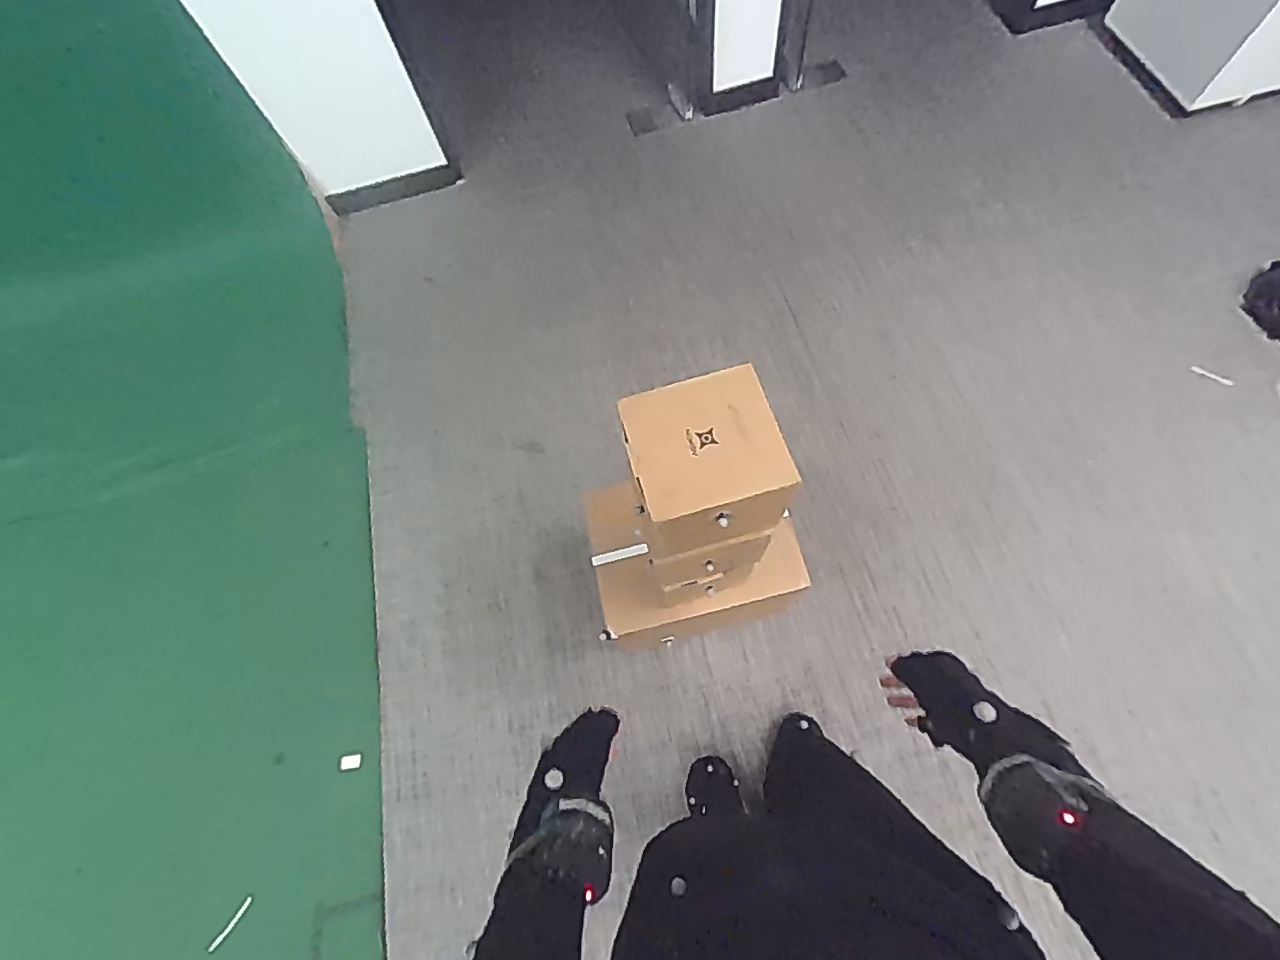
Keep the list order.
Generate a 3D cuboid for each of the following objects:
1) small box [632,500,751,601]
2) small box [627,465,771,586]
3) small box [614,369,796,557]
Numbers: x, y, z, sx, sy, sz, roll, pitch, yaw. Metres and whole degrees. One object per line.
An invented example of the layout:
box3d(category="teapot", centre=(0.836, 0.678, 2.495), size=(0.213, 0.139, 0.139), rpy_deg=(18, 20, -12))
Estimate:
box3d(category="small box", centre=(0.093, 0.117, 1.001), size=(0.168, 0.176, 0.179), rpy_deg=(-18, 69, -2))
box3d(category="small box", centre=(0.087, 0.055, 0.848), size=(0.179, 0.176, 0.168), rpy_deg=(-15, 68, 0))
box3d(category="small box", centre=(0.078, -0.012, 0.701), size=(0.179, 0.176, 0.168), rpy_deg=(-16, 69, -2))
